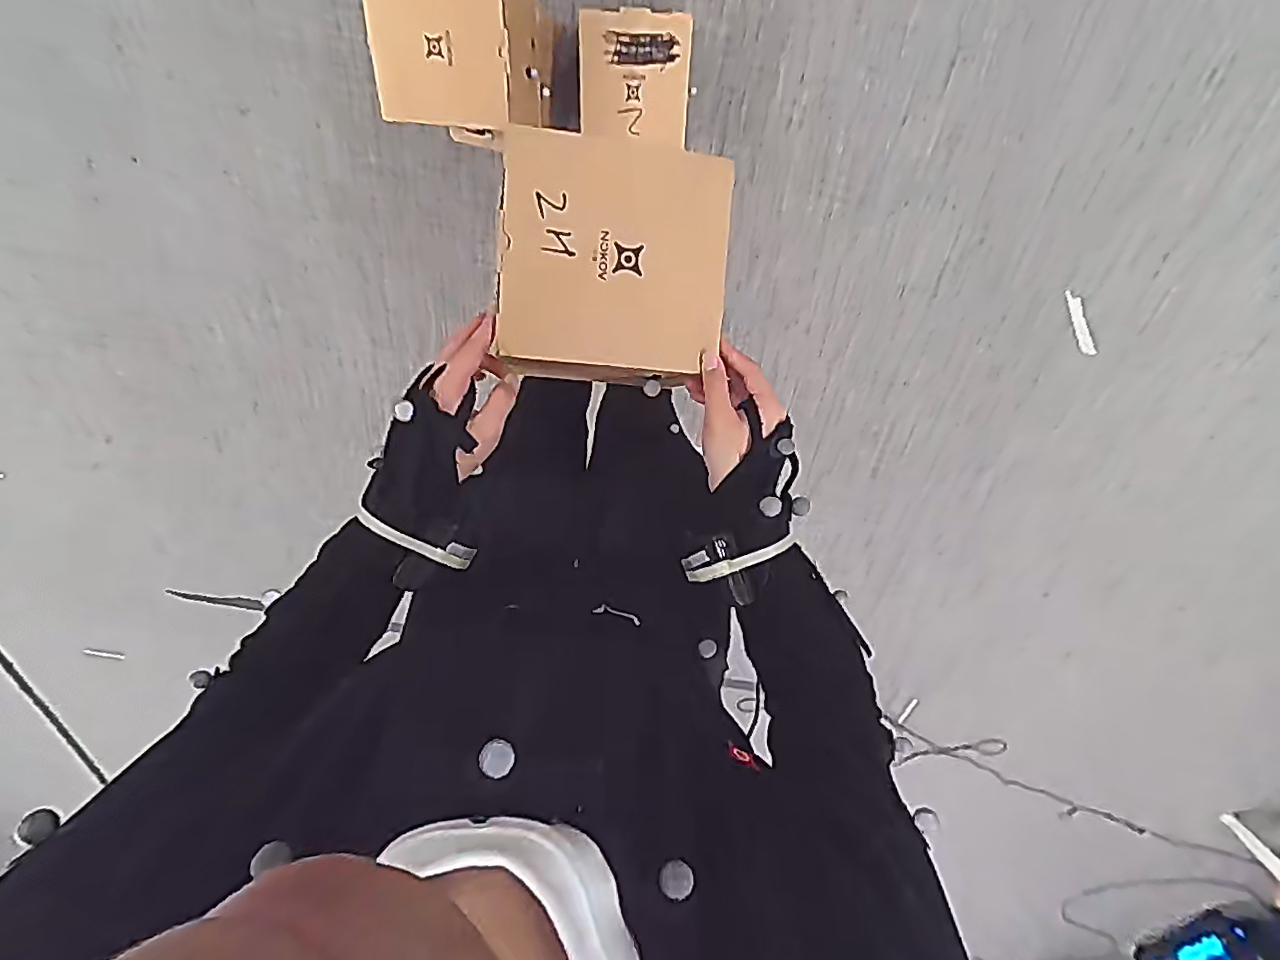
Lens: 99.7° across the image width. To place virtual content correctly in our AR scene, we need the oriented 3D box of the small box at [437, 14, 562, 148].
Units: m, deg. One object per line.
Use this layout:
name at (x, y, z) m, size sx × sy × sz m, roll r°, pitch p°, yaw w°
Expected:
small box at (-0.228, -0.656, 0.884) m, size 0.168 × 0.176 × 0.179 m, roll 11°, pitch 122°, yaw -2°

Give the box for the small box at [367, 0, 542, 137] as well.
small box at (-0.242, -0.575, 0.743) m, size 0.179 × 0.176 × 0.168 m, roll 5°, pitch 123°, yaw 1°

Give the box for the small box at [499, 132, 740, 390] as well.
small box at (-0.027, -0.172, 0.486) m, size 0.179 × 0.176 × 0.168 m, roll 3°, pitch 95°, yaw -10°
